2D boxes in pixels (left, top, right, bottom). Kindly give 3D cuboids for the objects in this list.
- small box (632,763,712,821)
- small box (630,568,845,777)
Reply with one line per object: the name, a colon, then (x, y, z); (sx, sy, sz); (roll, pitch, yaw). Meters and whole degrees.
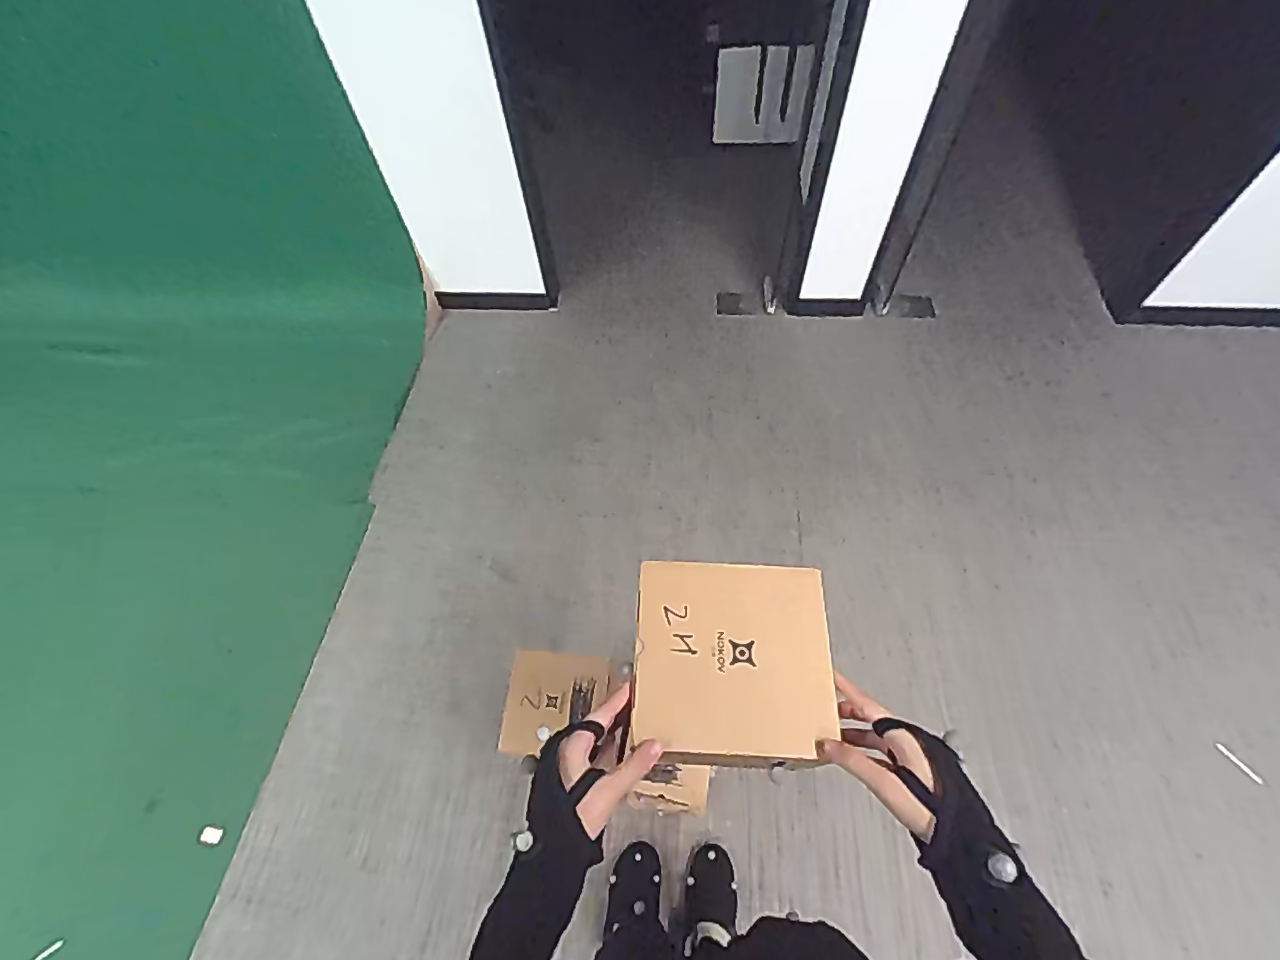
small box: (0.077, 0.660, 1.223); (0.168, 0.176, 0.179); (3, 59, 6)
small box: (0.084, 0.198, 0.543); (0.179, 0.176, 0.168); (1, 59, 3)
